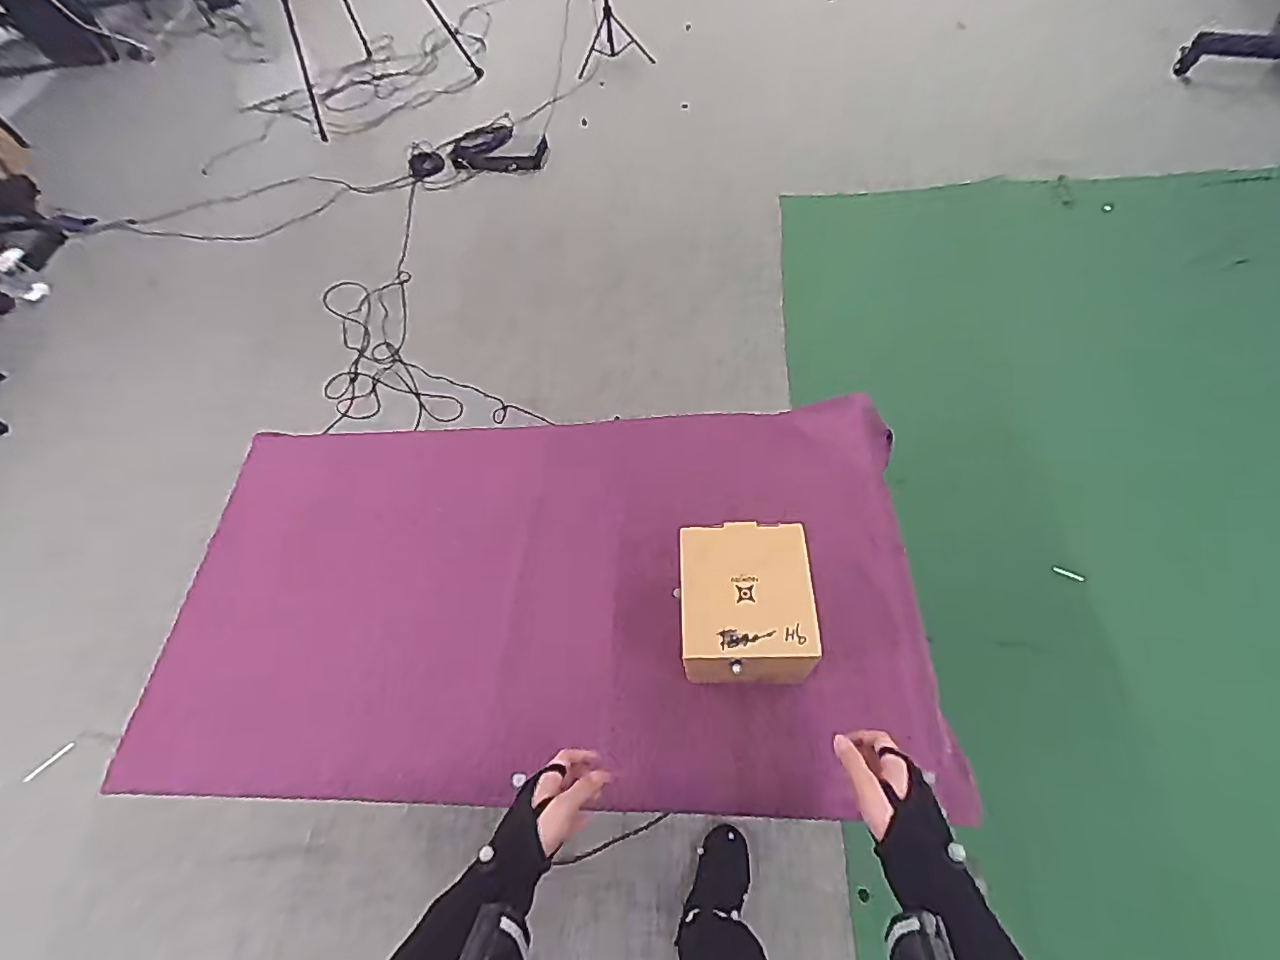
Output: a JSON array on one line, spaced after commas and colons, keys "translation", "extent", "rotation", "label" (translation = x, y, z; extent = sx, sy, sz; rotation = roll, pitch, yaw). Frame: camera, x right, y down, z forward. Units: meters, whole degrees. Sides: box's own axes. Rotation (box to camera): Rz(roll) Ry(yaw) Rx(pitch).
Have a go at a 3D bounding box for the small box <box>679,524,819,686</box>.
[{"translation": [0.140, 0.176, 0.747], "extent": [0.168, 0.176, 0.179], "rotation": [-3, 59, 7], "label": "small box"}]
